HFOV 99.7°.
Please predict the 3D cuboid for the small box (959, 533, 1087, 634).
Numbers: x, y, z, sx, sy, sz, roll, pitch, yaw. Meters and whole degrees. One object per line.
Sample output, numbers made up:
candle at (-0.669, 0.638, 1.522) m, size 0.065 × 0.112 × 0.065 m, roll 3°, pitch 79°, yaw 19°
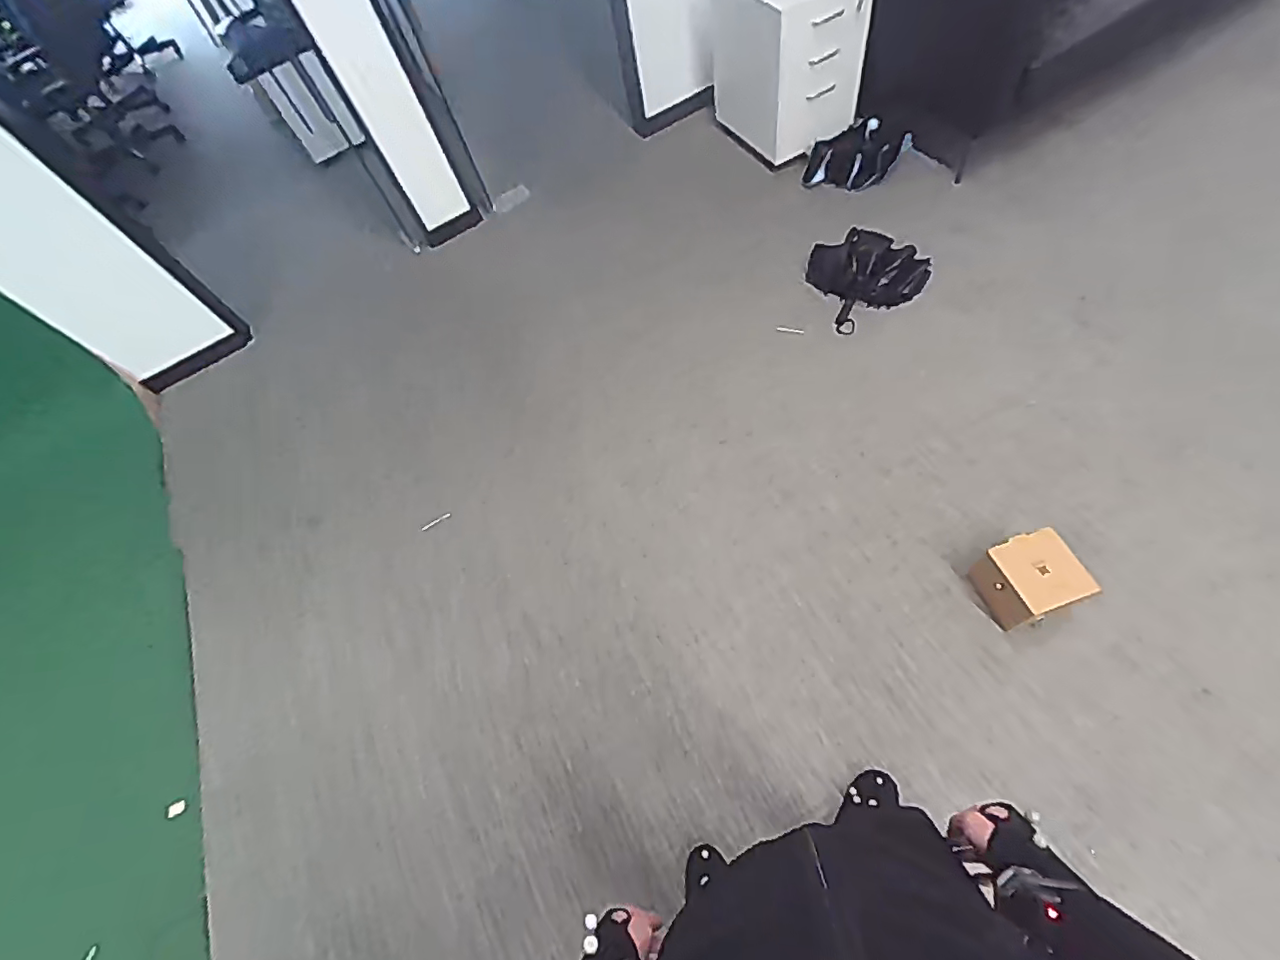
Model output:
small box at (0.946, 0.264, 1.360) m, size 0.168 × 0.176 × 0.179 m, roll -21°, pitch 60°, yaw 0°
